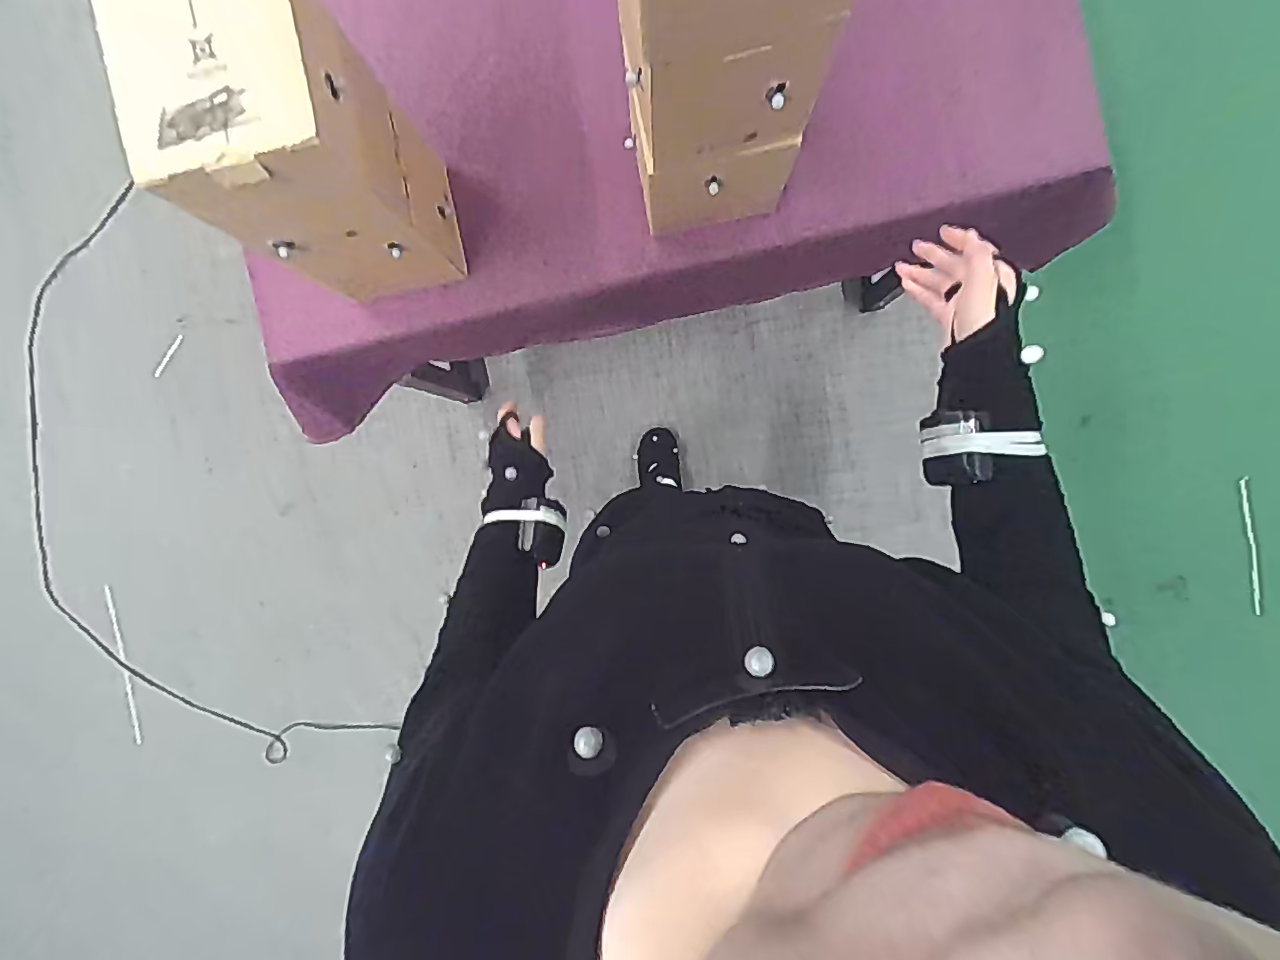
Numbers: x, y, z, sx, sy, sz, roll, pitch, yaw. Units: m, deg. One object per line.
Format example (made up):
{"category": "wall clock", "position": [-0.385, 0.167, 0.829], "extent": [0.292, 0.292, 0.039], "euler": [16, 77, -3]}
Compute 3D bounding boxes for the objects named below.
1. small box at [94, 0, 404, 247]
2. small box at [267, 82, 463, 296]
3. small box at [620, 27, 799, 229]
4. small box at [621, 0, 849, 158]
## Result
{"category": "small box", "position": [-0.356, -0.350, 0.528], "extent": [0.168, 0.176, 0.179], "euler": [-12, 90, 2]}
{"category": "small box", "position": [-0.352, -0.353, 0.692], "extent": [0.179, 0.176, 0.168], "euler": [-12, 91, 1]}
{"category": "small box", "position": [0.080, -0.436, 0.671], "extent": [0.179, 0.176, 0.168], "euler": [-10, 92, 3]}
{"category": "small box", "position": [0.074, -0.436, 0.508], "extent": [0.168, 0.176, 0.179], "euler": [-12, 91, 2]}
